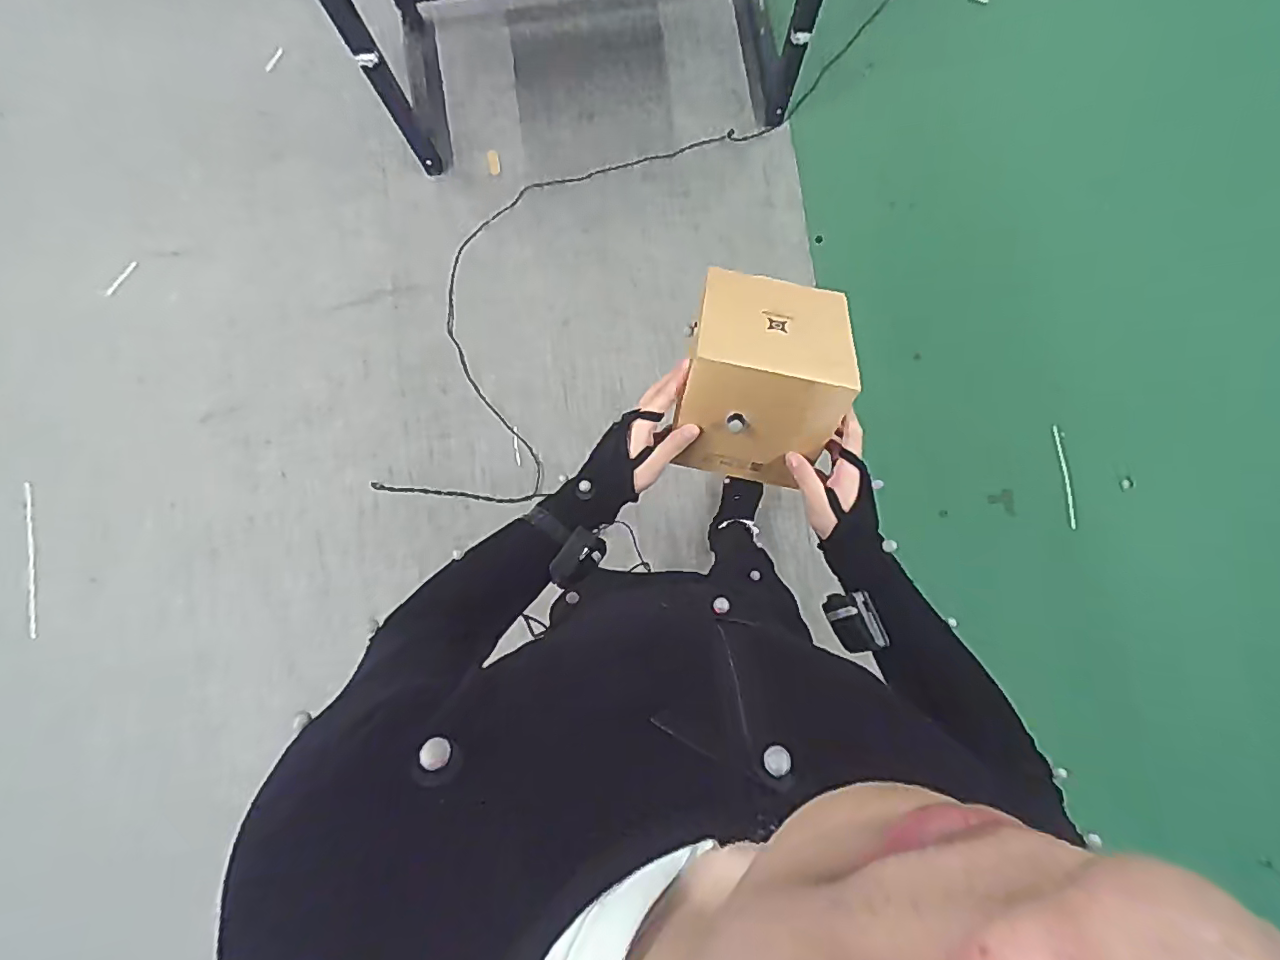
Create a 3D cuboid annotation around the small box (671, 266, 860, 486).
[{"bbox_3d":[0.134,-0.117,0.631,0.168,0.176,0.179,11,50,0],"label":"small box"}]
